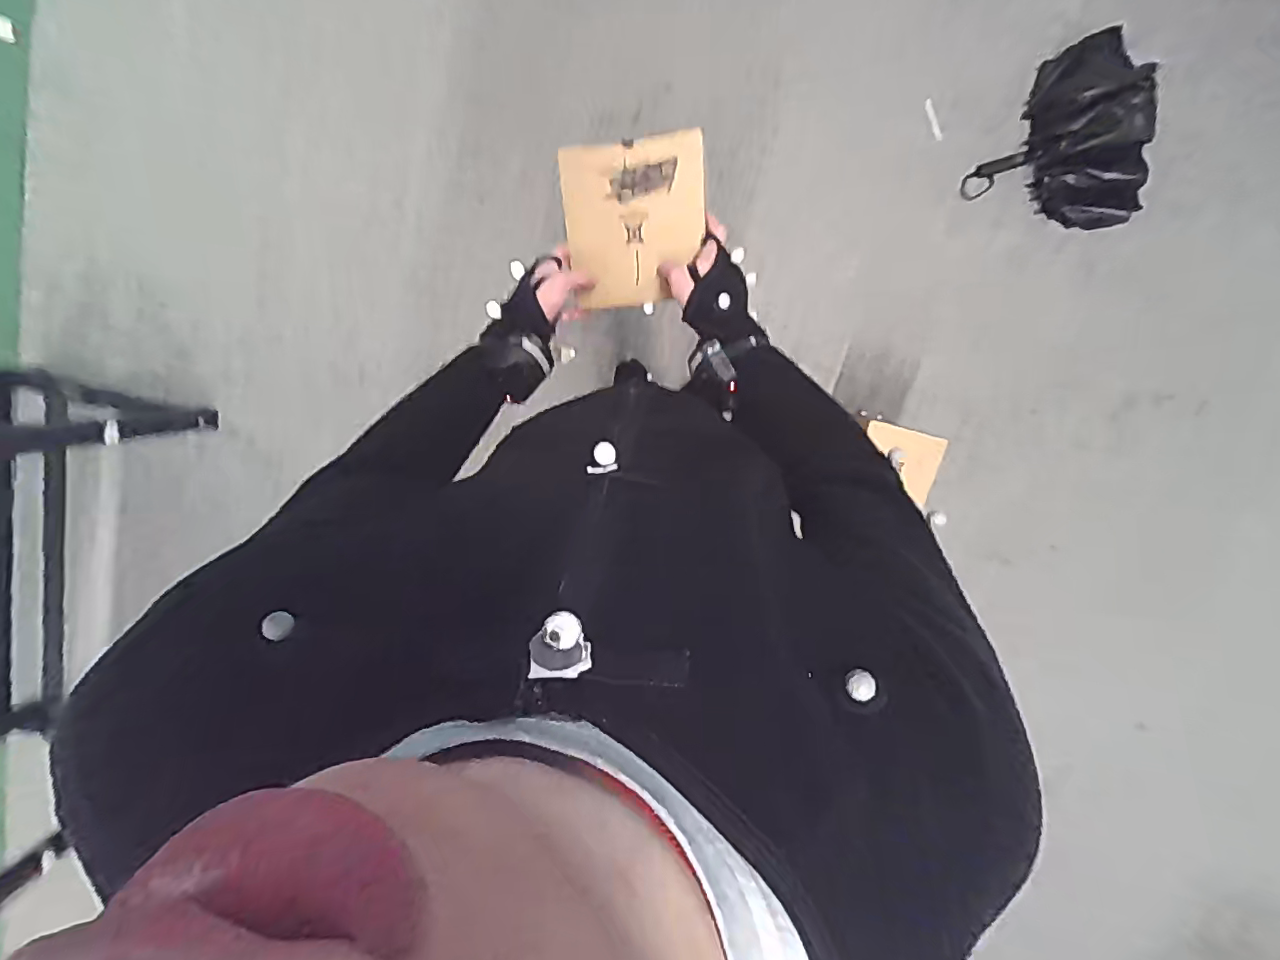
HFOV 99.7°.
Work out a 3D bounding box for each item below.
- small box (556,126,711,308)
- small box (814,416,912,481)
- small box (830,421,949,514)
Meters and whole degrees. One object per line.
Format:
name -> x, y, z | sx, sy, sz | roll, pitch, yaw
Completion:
small box -> 0.004, -0.318, 0.684 | 0.168, 0.176, 0.179 | -2, 111, 10
small box -> 0.572, -0.069, 1.407 | 0.179, 0.176, 0.168 | 14, 102, 1
small box -> 0.563, -0.037, 1.248 | 0.179, 0.176, 0.168 | 14, 102, -1
